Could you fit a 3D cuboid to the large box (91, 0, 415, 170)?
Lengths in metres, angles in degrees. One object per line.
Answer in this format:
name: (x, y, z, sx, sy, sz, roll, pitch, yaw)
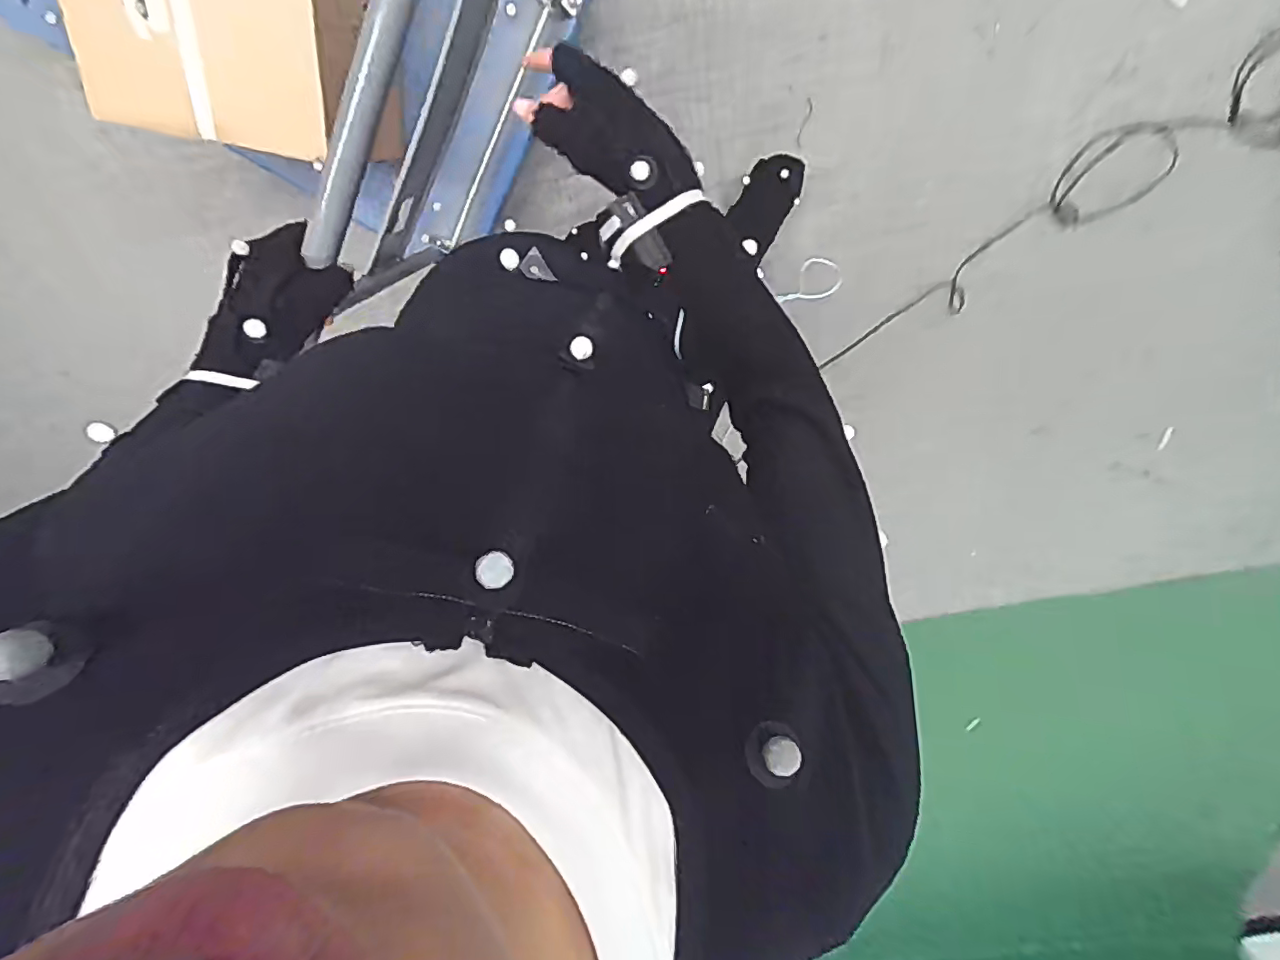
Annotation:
large box: (-0.547, -0.722, 0.803, 0.320, 0.320, 0.408, 8, 122, -6)
